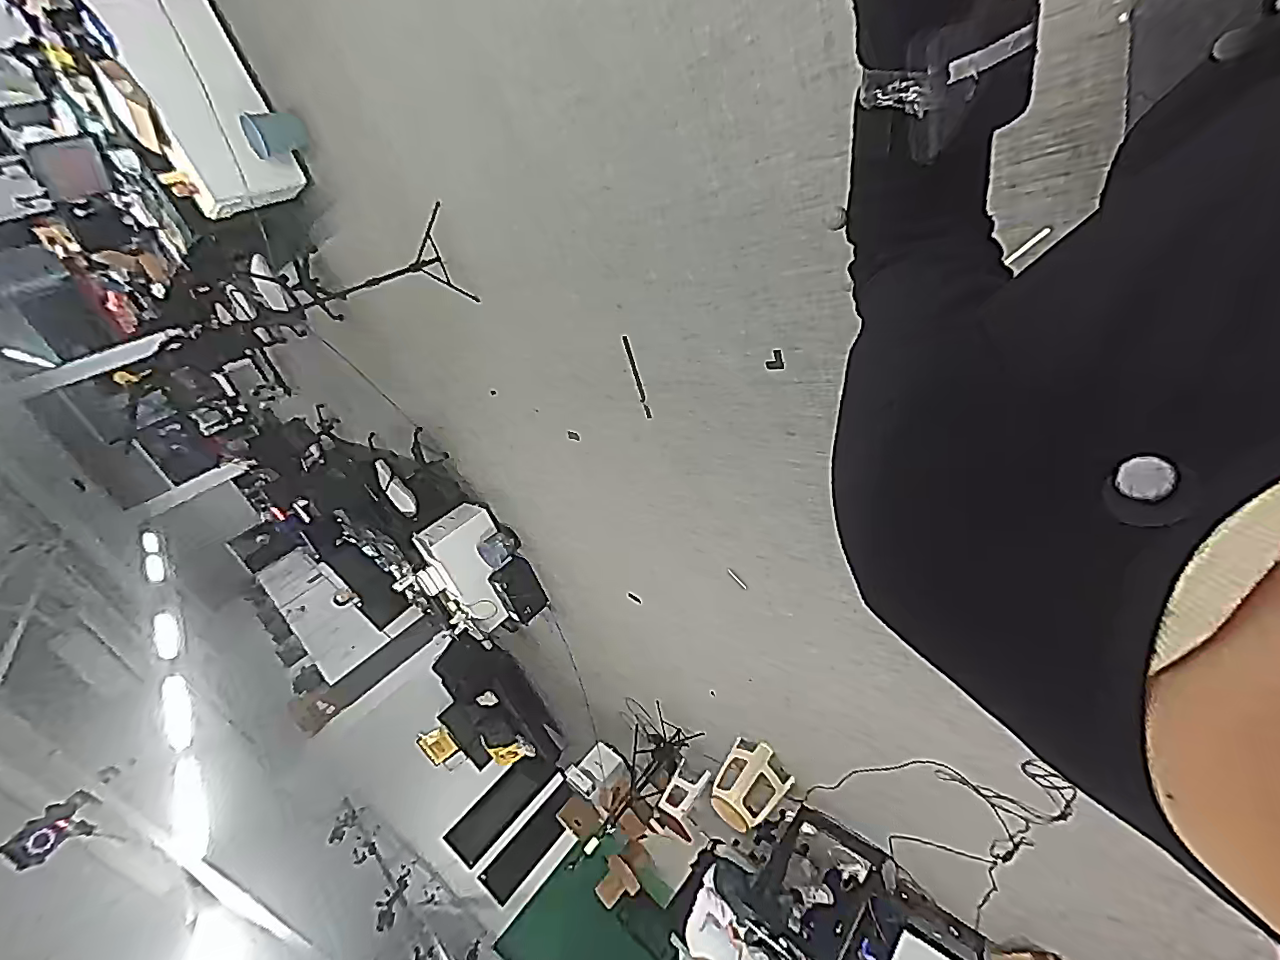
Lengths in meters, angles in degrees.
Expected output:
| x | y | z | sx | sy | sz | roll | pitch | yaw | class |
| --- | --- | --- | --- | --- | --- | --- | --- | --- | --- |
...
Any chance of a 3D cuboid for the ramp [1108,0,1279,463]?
| x | y | z | sx | sy | sz | roll | pitch | yaw | class |
| --- | --- | --- | --- | --- | --- | --- | --- | --- | --- |
| 1.133 | -0.399 | 0.921 | 0.509 | 0.206 | 0.991 | 7 | 129 | 46 | ramp |
